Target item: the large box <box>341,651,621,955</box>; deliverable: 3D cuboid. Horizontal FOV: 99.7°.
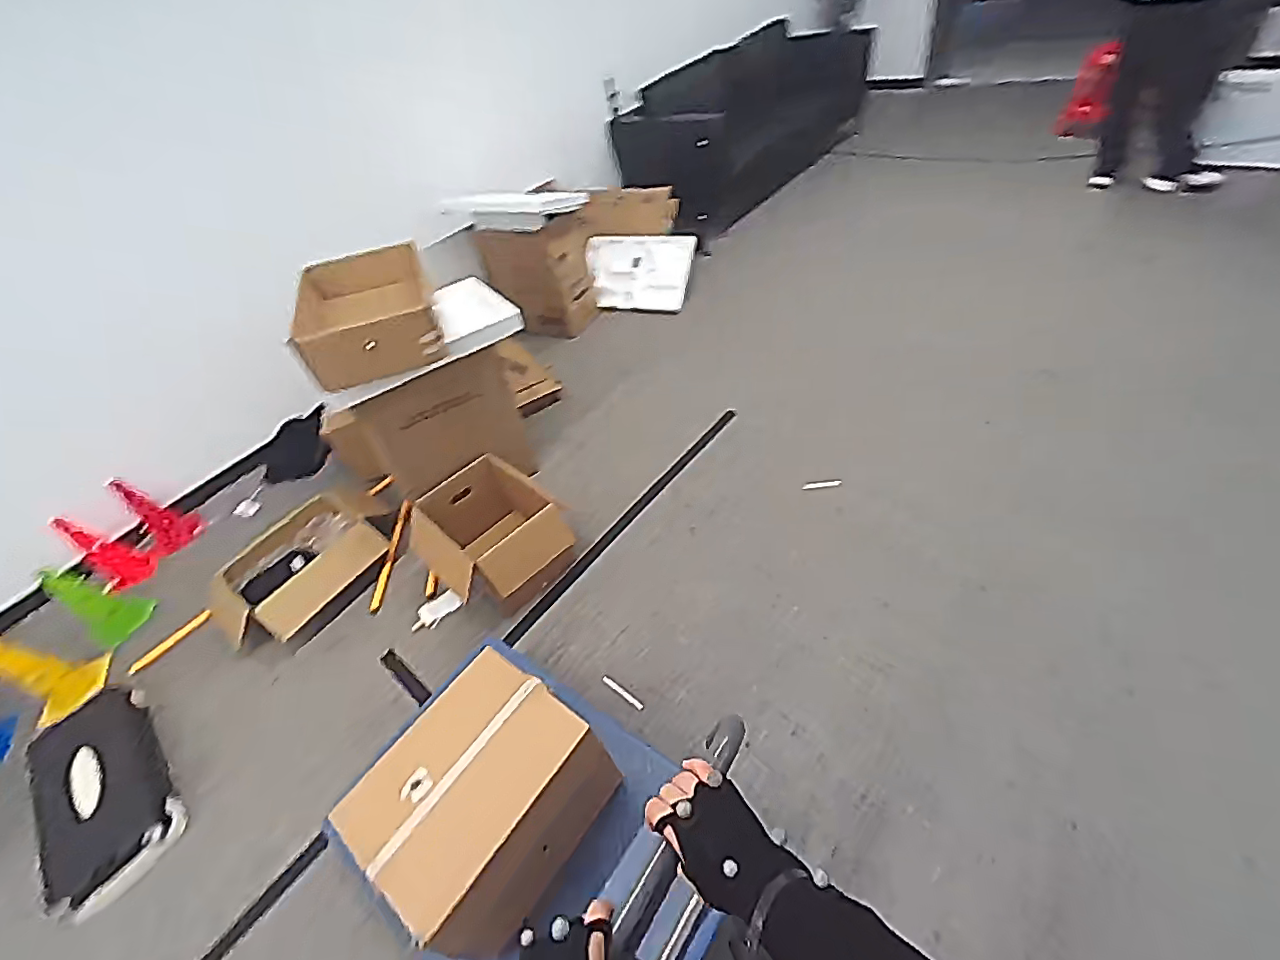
[{"bbox_3d":[-0.296,0.652,1.123,0.320,0.320,0.408,22,55,33],"label":"large box"}]
